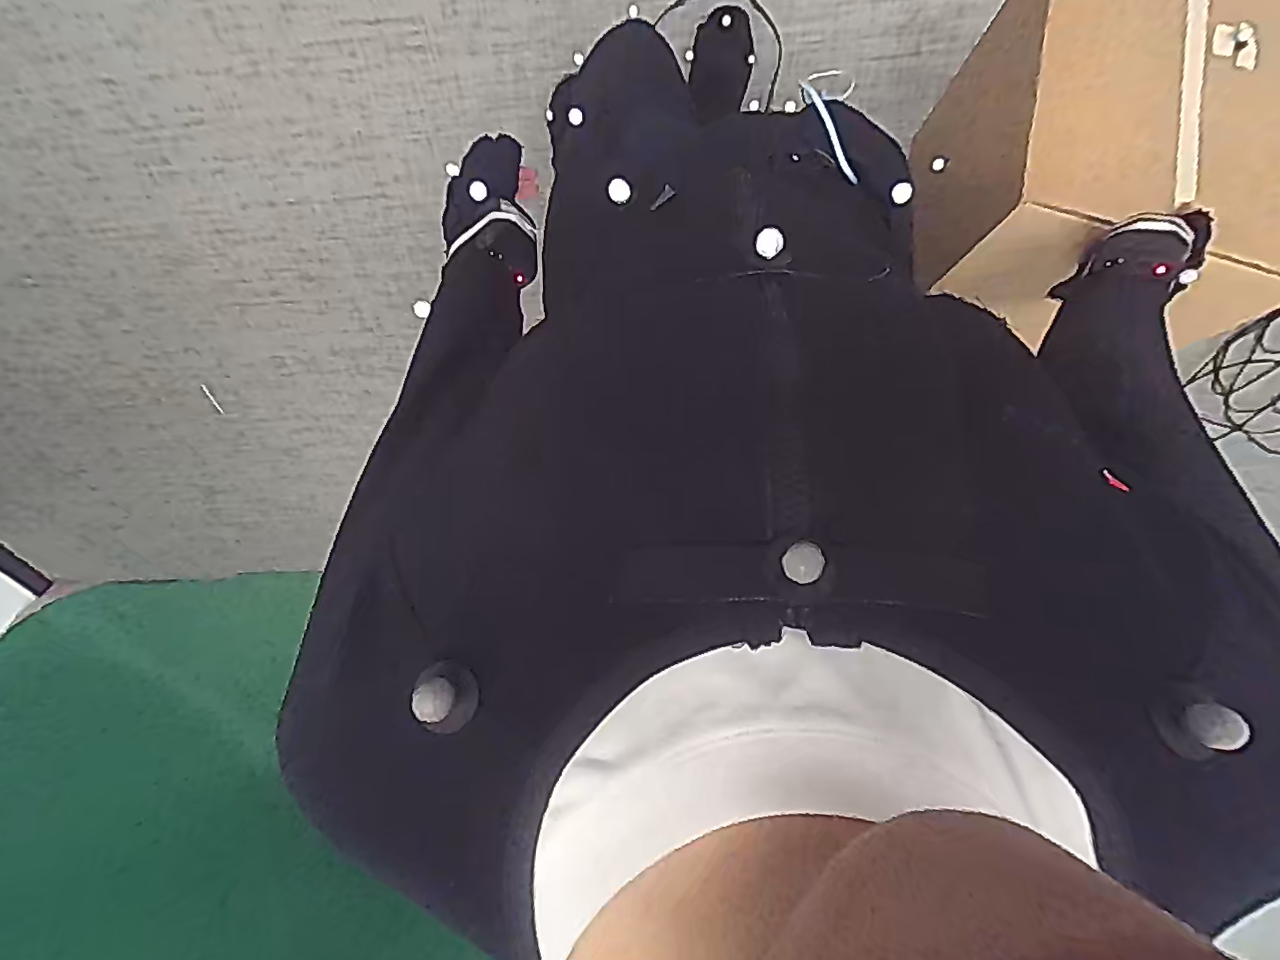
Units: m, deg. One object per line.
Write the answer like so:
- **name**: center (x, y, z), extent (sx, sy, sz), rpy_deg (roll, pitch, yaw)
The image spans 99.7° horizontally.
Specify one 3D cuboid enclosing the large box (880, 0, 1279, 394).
- **large box**: center (0.565, -0.381, 0.725), extent (0.320, 0.408, 0.320), rpy_deg (16, 167, 0)
